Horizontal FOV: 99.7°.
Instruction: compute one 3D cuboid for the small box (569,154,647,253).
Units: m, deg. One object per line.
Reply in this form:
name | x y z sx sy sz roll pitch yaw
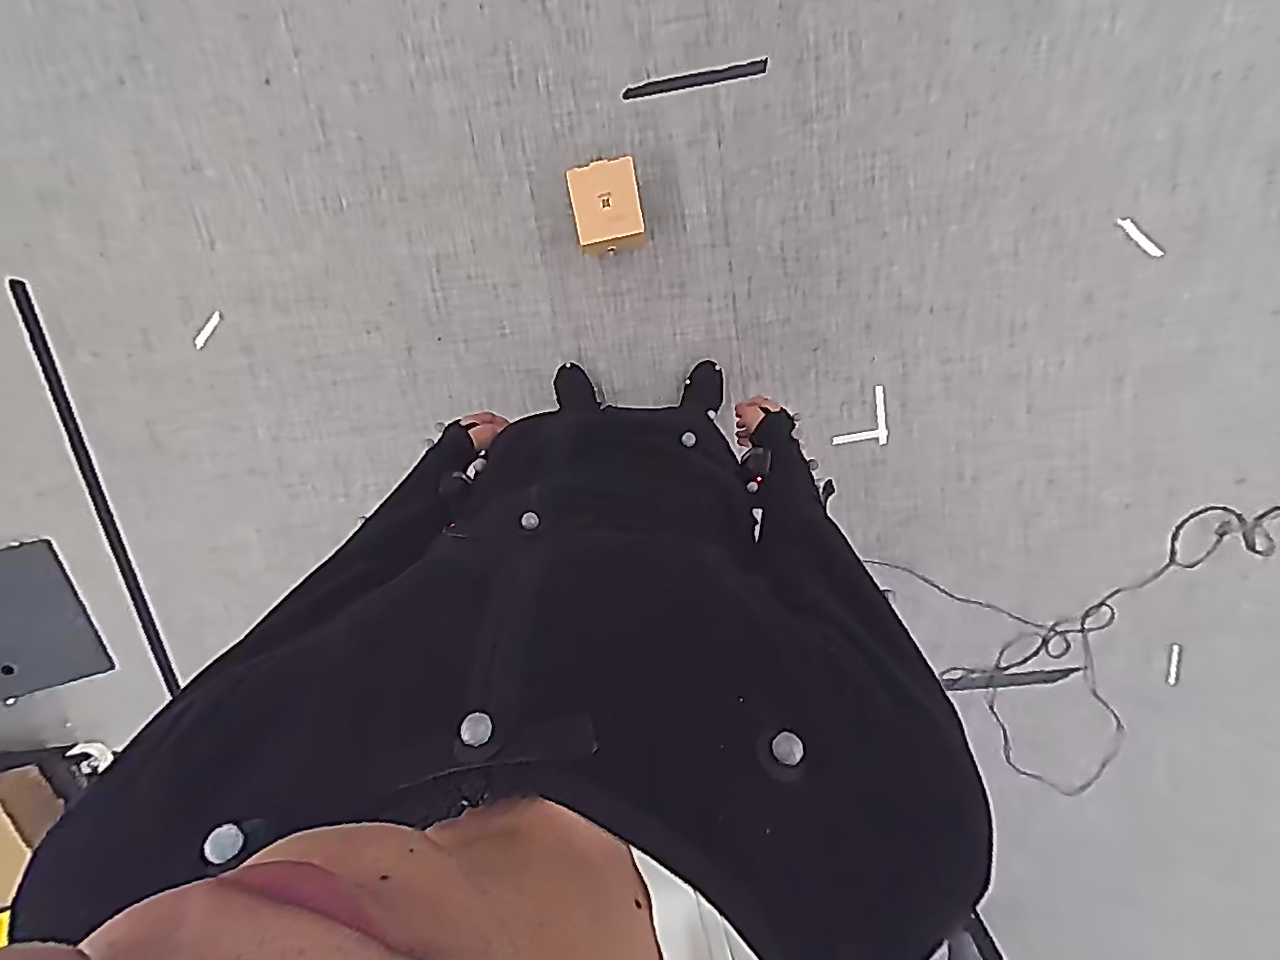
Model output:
small box | -0.076 -0.702 1.388 0.168 0.176 0.179 -10 104 5
